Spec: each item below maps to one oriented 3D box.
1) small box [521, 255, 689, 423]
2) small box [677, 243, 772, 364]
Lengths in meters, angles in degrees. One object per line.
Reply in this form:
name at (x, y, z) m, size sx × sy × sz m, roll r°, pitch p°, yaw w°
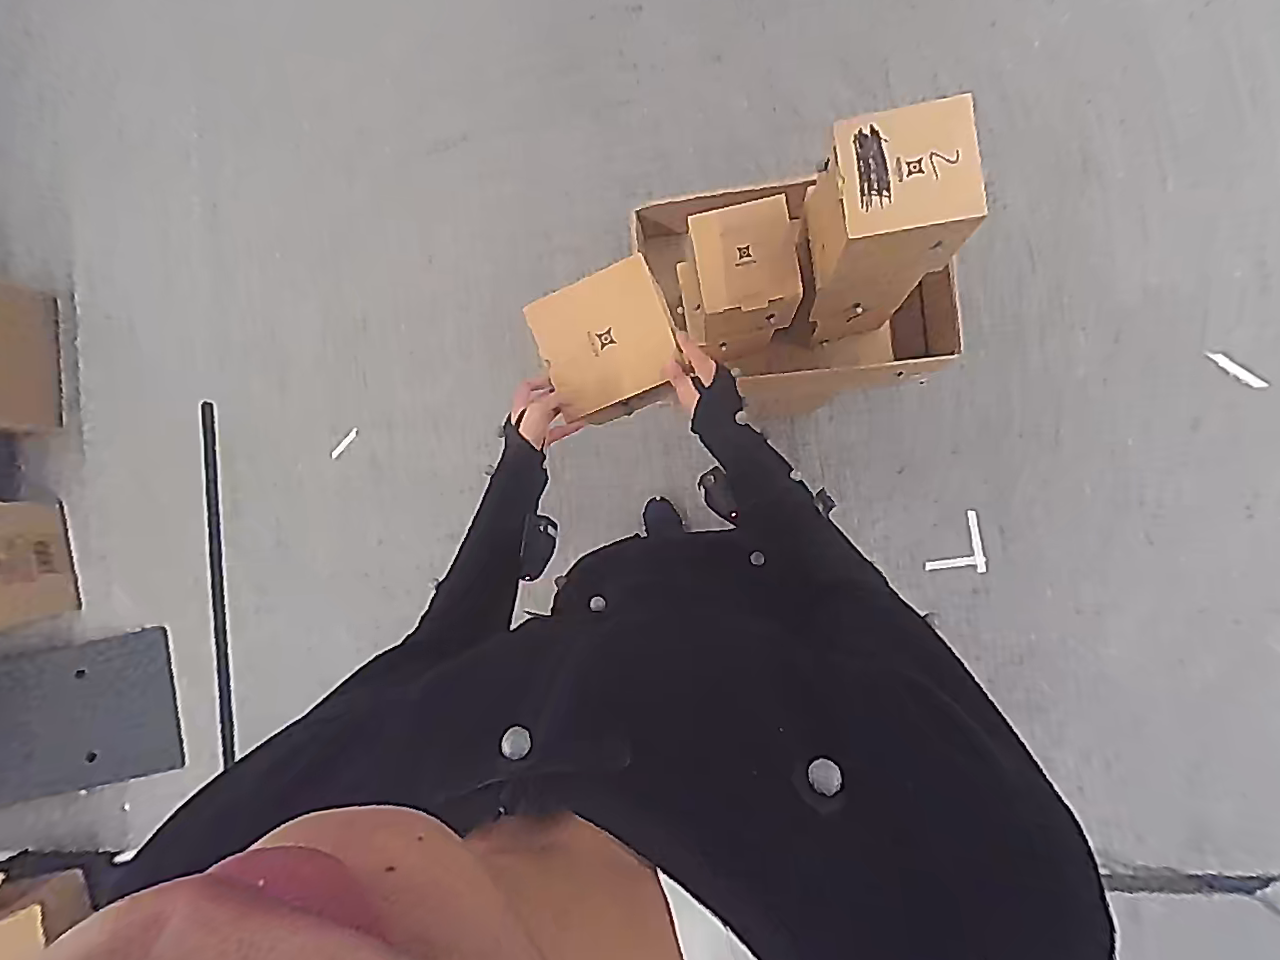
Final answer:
small box at (-0.037, -0.190, 0.778) m, size 0.179 × 0.176 × 0.168 m, roll -22°, pitch 91°, yaw 13°
small box at (0.175, -0.364, 1.141) m, size 0.168 × 0.176 × 0.179 m, roll -10°, pitch 86°, yaw 8°
